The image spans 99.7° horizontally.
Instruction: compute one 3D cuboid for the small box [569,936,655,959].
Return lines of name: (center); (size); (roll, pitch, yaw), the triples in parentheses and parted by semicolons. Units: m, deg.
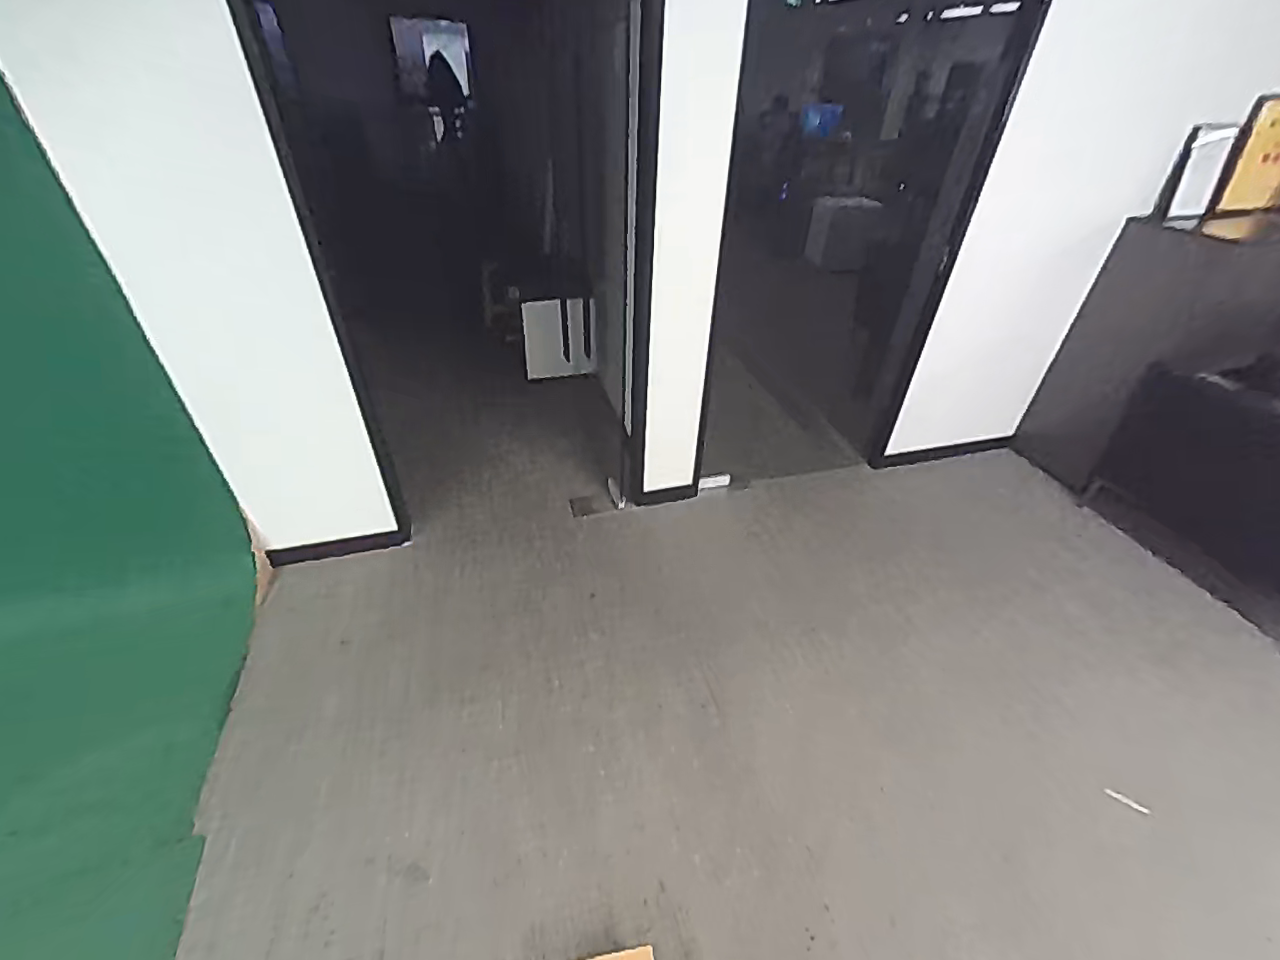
small box: (-0.049, 1.016, 1.031); (0.168, 0.176, 0.179); (-4, 39, -9)
